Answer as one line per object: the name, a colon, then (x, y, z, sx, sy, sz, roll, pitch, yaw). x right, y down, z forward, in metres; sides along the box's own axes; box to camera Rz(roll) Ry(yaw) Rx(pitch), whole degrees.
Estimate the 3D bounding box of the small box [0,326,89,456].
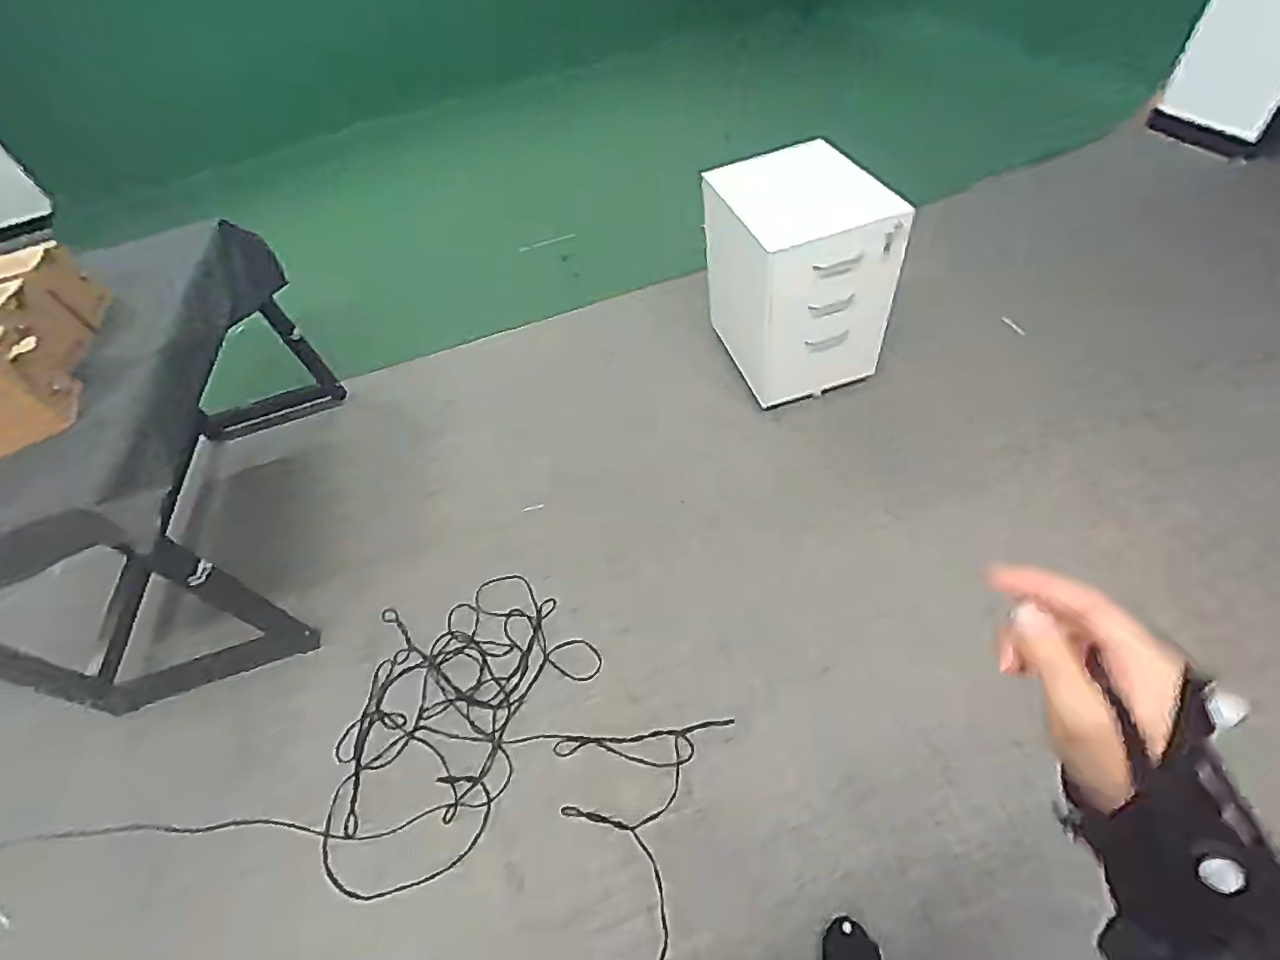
small box: (-1.292, -0.173, 1.093, 0.179, 0.176, 0.168, -30, 52, -13)
